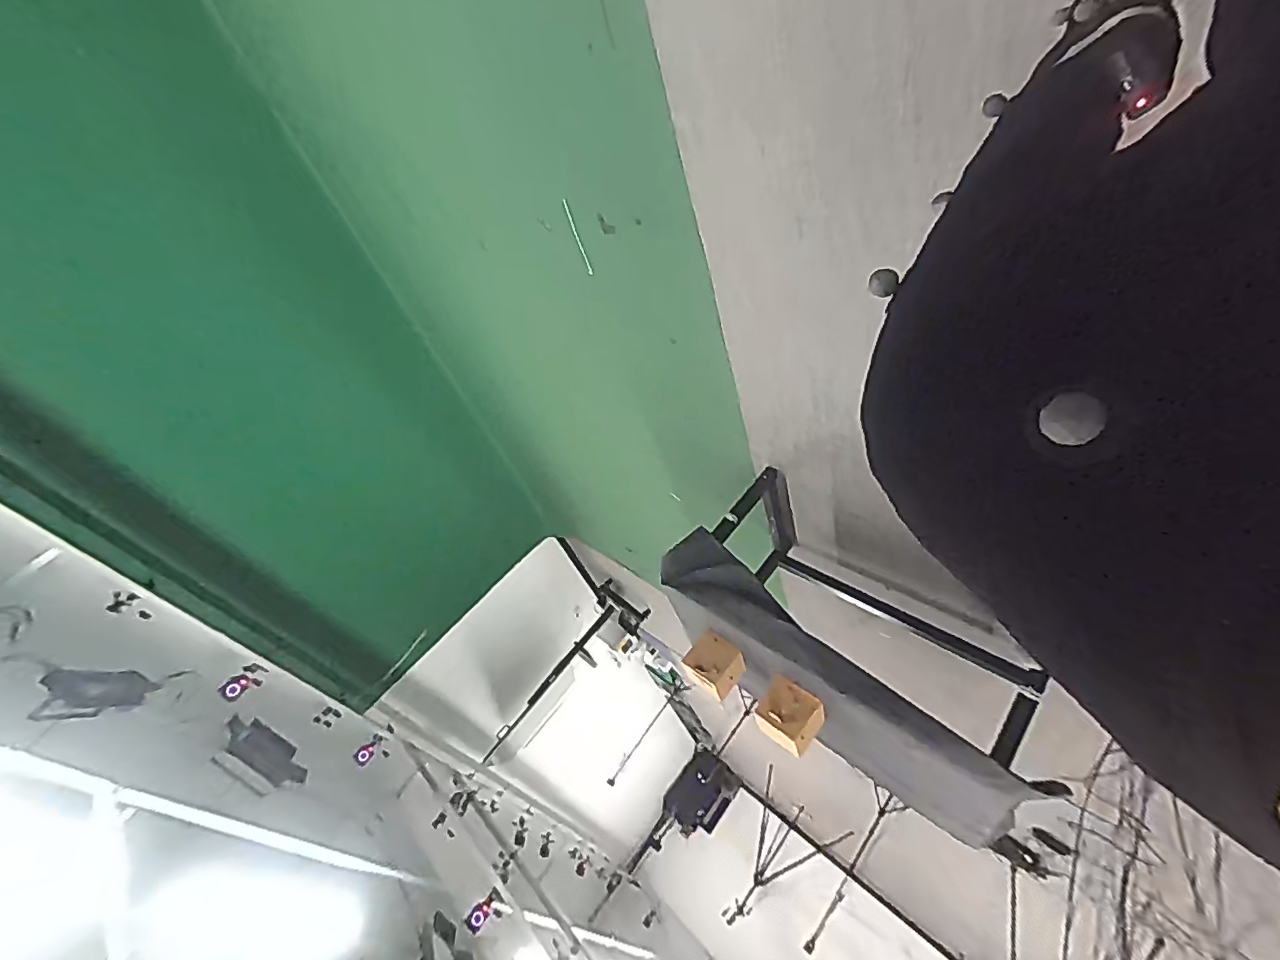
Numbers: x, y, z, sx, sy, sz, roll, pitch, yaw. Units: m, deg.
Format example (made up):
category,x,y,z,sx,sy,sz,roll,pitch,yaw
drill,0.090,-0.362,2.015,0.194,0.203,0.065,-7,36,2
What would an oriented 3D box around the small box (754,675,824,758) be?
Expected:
category,x,y,z,sx,sy,sz,roll,pitch,yaw
small box,0.524,0.820,1.883,0.168,0.176,0.179,25,151,40
